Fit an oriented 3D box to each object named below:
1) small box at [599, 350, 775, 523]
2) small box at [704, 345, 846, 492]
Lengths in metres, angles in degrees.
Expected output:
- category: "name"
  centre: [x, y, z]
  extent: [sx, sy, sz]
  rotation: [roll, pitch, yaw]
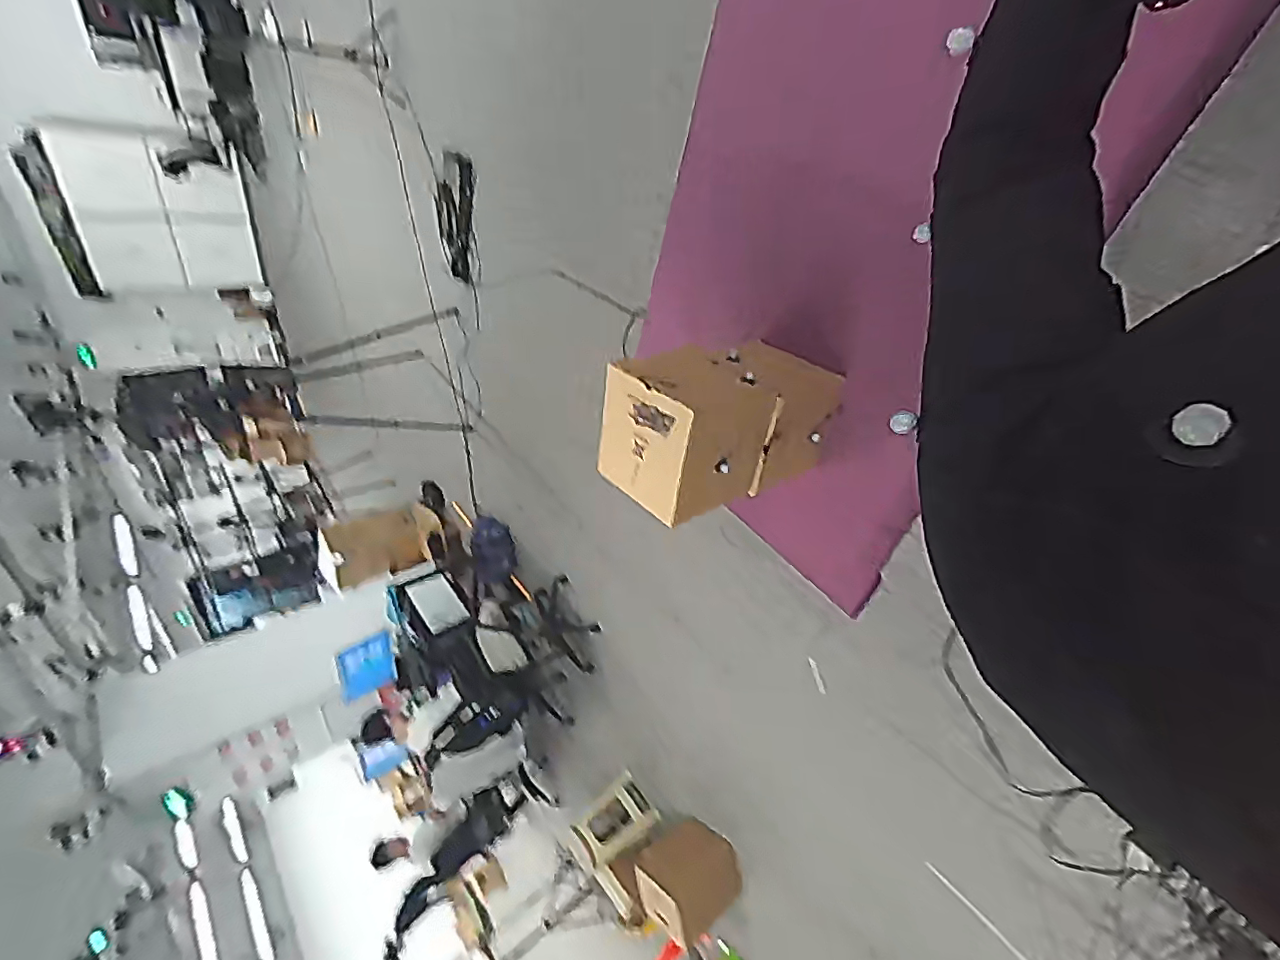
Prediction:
- category: "small box"
  centre: [0.065, -0.073, 0.769]
  extent: [0.168, 0.176, 0.179]
  rotation: [41, 134, 36]
- category: "small box"
  centre: [0.193, -0.110, 0.870]
  extent: [0.179, 0.176, 0.168]
  rotation: [37, 133, 37]
